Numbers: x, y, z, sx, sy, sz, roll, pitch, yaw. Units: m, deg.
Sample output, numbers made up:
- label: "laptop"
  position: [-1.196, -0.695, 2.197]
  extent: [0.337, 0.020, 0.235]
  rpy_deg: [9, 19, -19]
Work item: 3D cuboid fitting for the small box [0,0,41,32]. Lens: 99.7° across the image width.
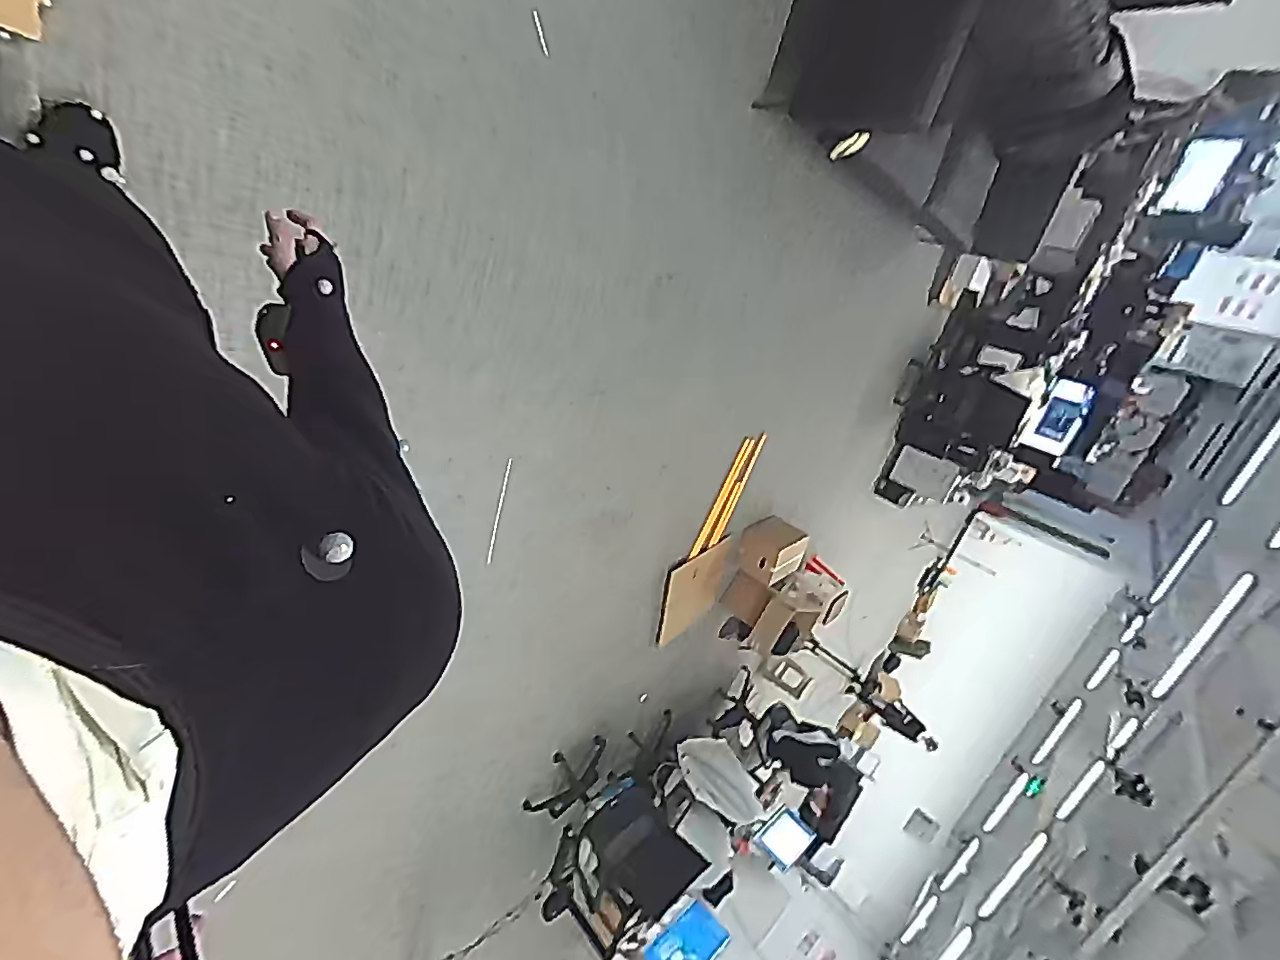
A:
- label: "small box"
  position: [-1.030, -0.810, 0.809]
  extent: [0.179, 0.176, 0.168]
  rpy_deg: [-2, 118, -49]
